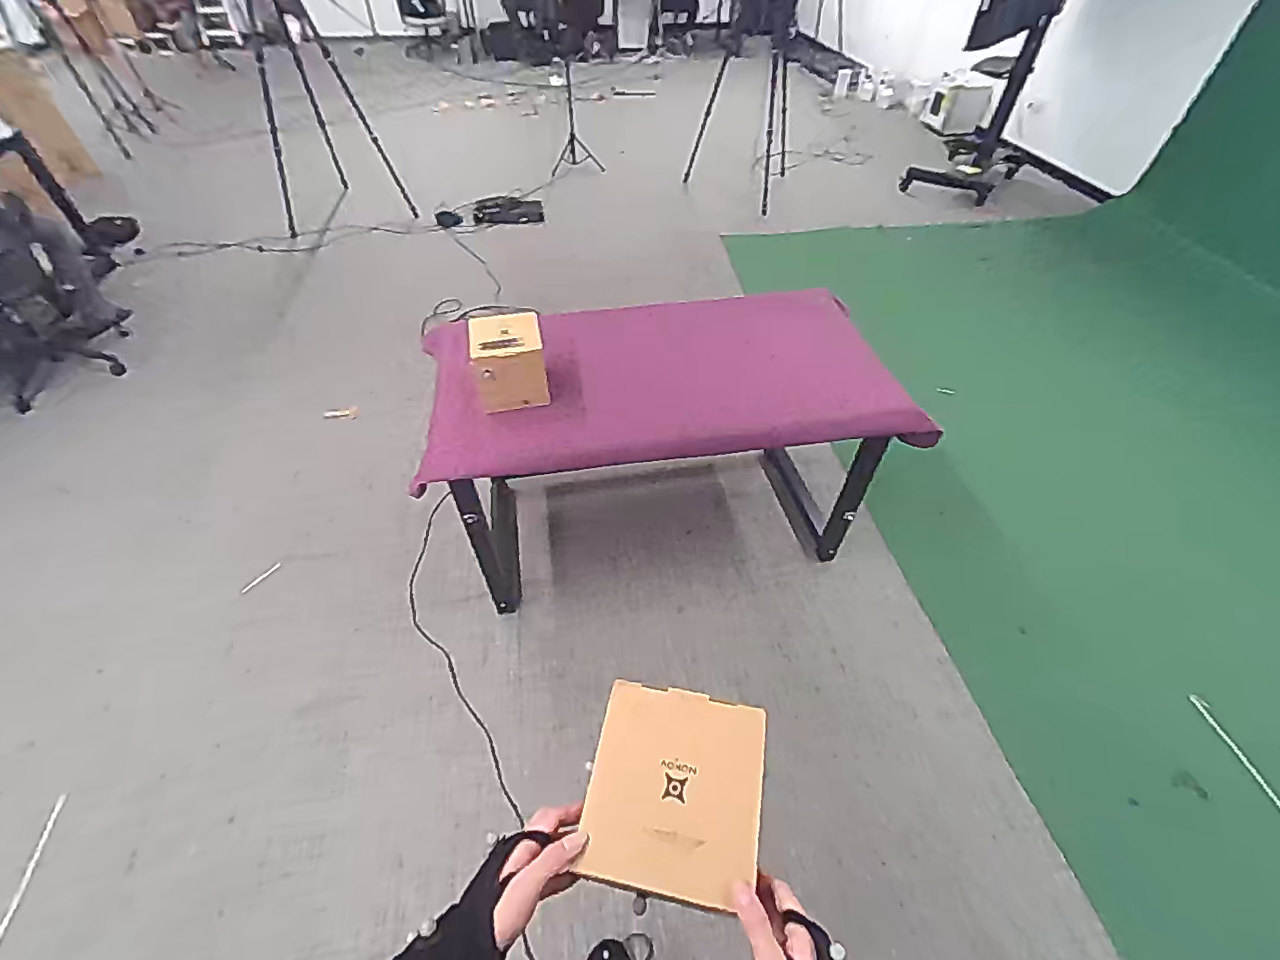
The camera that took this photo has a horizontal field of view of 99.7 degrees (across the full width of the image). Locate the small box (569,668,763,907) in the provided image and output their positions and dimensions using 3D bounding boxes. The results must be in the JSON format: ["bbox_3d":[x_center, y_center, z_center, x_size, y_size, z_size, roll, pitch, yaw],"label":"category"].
[{"bbox_3d":[0.032,0.334,0.587,0.168,0.176,0.179,9,52,9],"label":"small box"}]
